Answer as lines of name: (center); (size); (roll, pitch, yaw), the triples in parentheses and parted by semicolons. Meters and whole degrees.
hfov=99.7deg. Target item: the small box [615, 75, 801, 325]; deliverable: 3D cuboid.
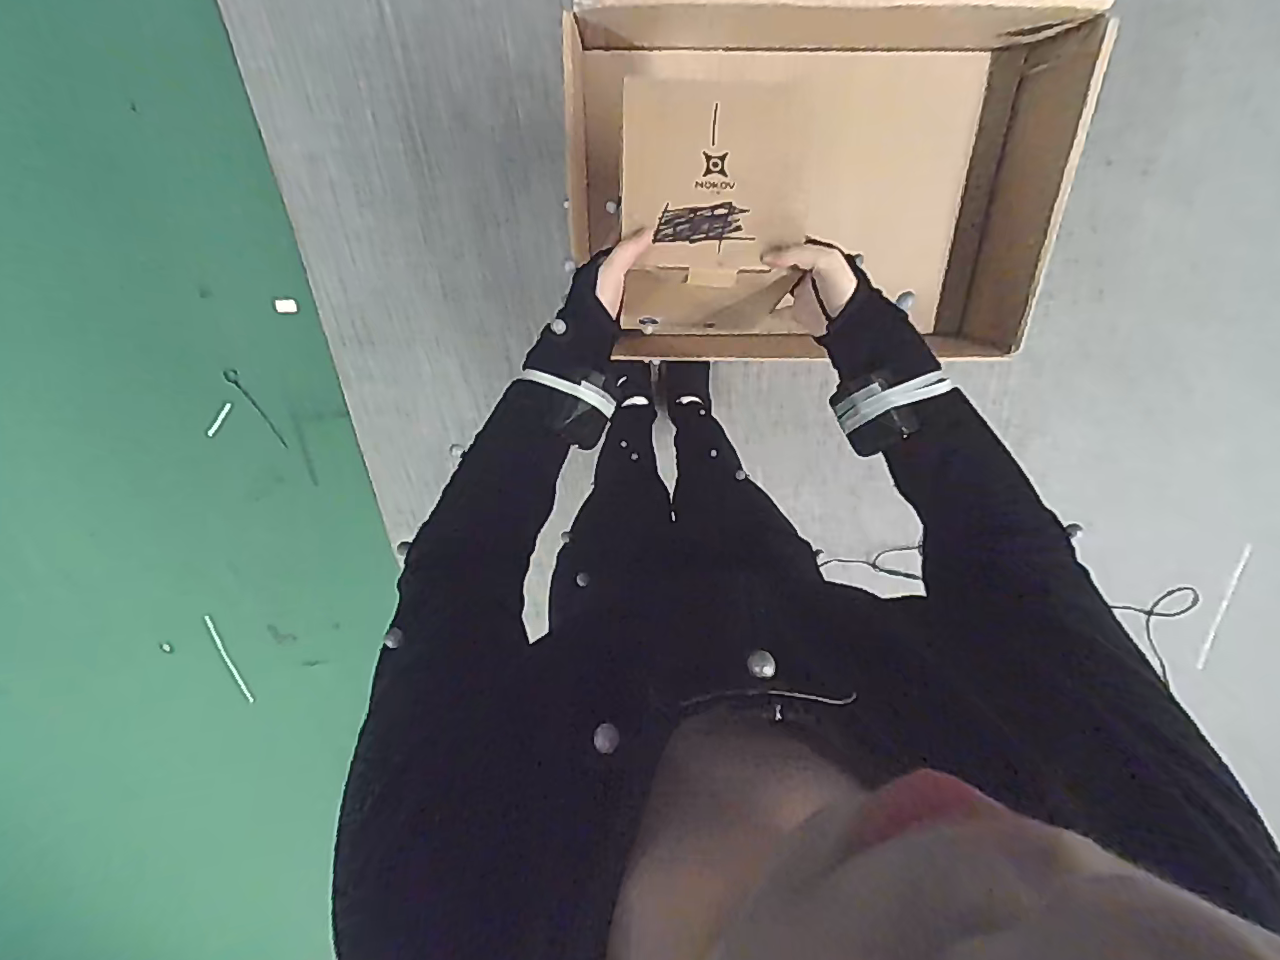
small box: (0.059, -0.272, 0.565); (0.168, 0.176, 0.179); (1, 87, -4)
